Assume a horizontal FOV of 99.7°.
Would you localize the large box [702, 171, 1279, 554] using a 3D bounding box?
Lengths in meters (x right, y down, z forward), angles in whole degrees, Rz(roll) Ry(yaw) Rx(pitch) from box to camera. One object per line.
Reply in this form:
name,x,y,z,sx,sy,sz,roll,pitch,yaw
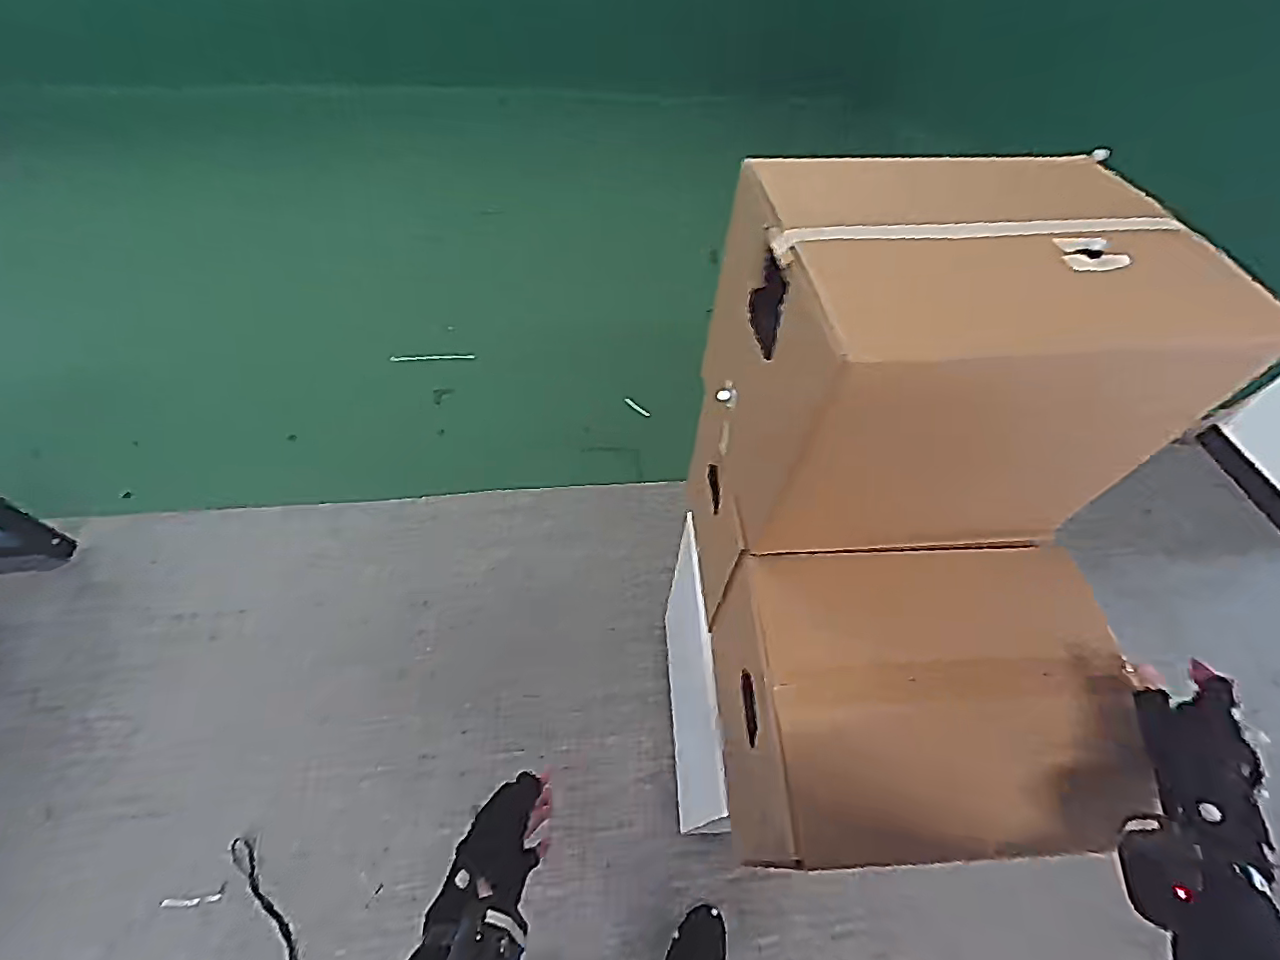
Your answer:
large box,0.316,-0.133,0.633,0.408,0.320,0.320,-4,54,-7
